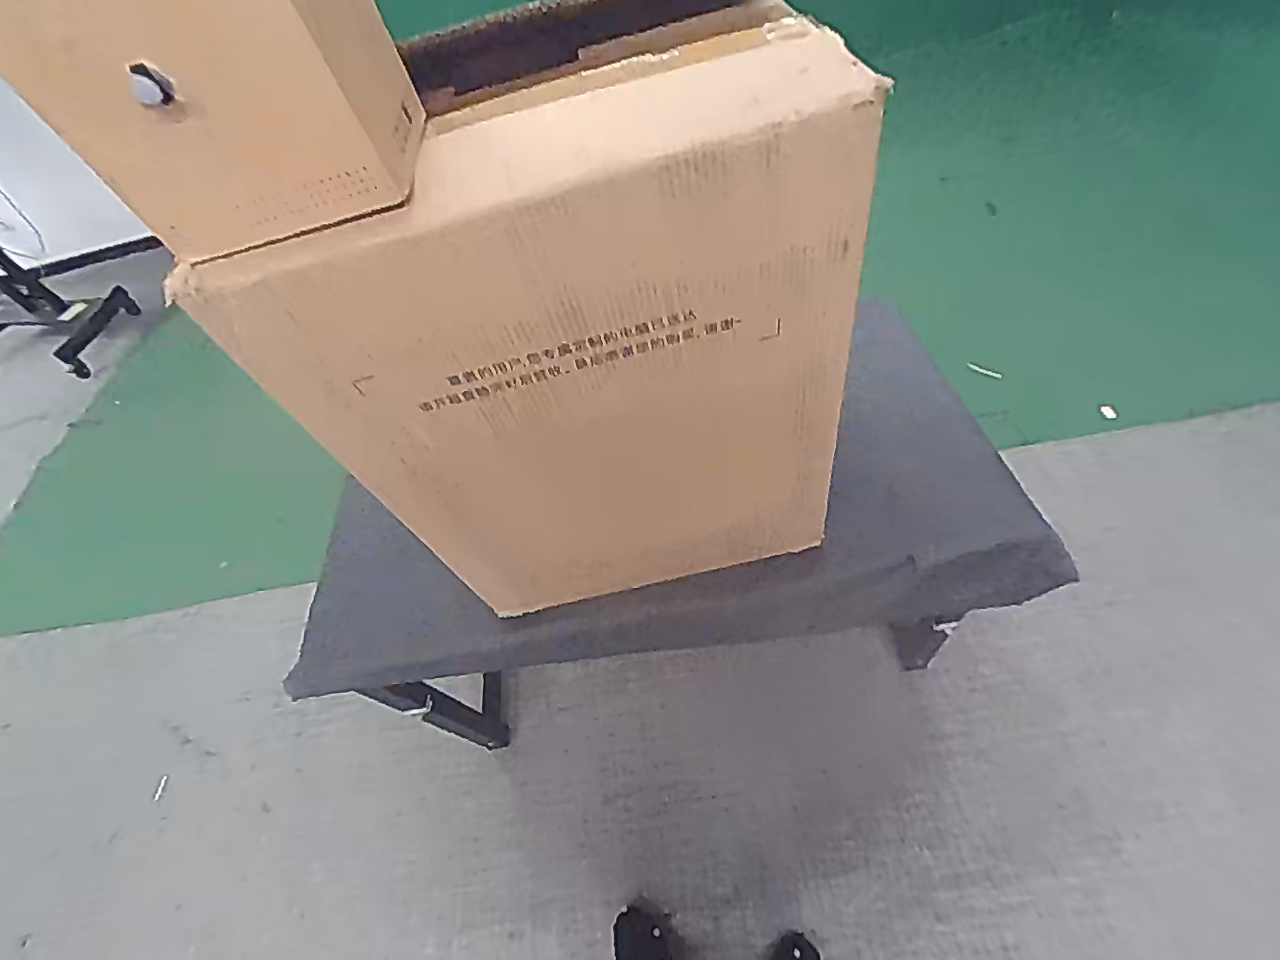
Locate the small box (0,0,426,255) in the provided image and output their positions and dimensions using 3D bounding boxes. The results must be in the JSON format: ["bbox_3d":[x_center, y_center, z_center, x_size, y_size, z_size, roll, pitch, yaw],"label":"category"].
[{"bbox_3d":[-0.279,-0.286,0.373,0.179,0.176,0.168,-14,54,6],"label":"small box"}]
